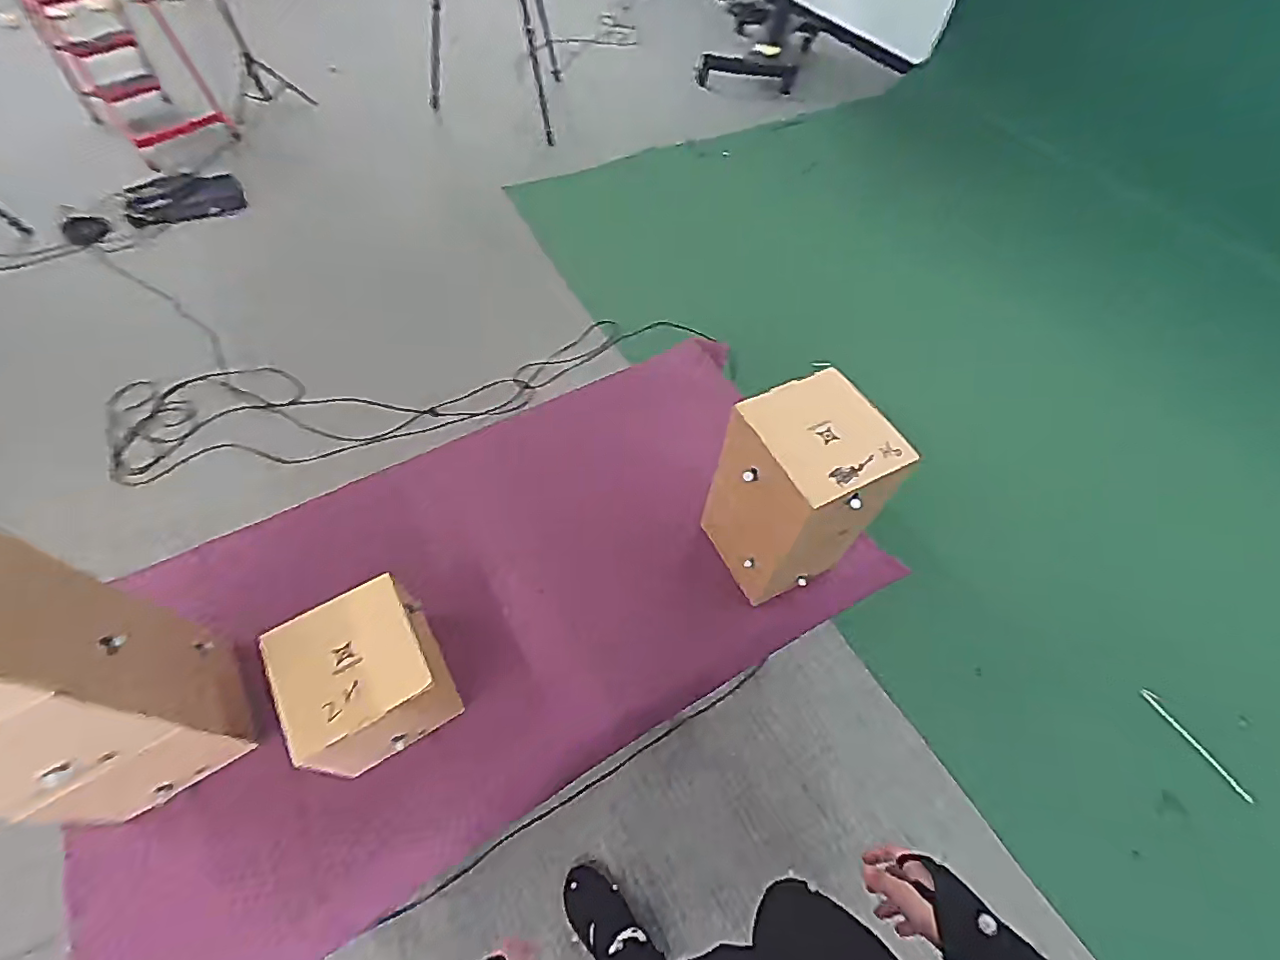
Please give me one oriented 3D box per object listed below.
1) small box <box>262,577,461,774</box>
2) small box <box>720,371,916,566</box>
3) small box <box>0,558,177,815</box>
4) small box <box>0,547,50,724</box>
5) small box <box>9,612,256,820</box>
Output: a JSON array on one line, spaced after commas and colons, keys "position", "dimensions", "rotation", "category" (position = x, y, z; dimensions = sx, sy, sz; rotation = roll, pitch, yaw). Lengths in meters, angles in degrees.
[{"position": [-0.367, 0.269, 0.735], "dimensions": [0.168, 0.176, 0.179], "rotation": [-27, 63, -18], "category": "small box"}, {"position": [0.226, -0.013, 0.745], "dimensions": [0.168, 0.176, 0.179], "rotation": [-23, 60, -15], "category": "small box"}, {"position": [-0.636, 0.218, 0.561], "dimensions": [0.168, 0.176, 0.179], "rotation": [-29, 64, -19], "category": "small box"}, {"position": [-0.631, 0.132, 0.424], "dimensions": [0.168, 0.176, 0.179], "rotation": [-30, 63, -19], "category": "small box"}, {"position": [-0.643, 0.308, 0.698], "dimensions": [0.168, 0.176, 0.179], "rotation": [-29, 64, -19], "category": "small box"}]
